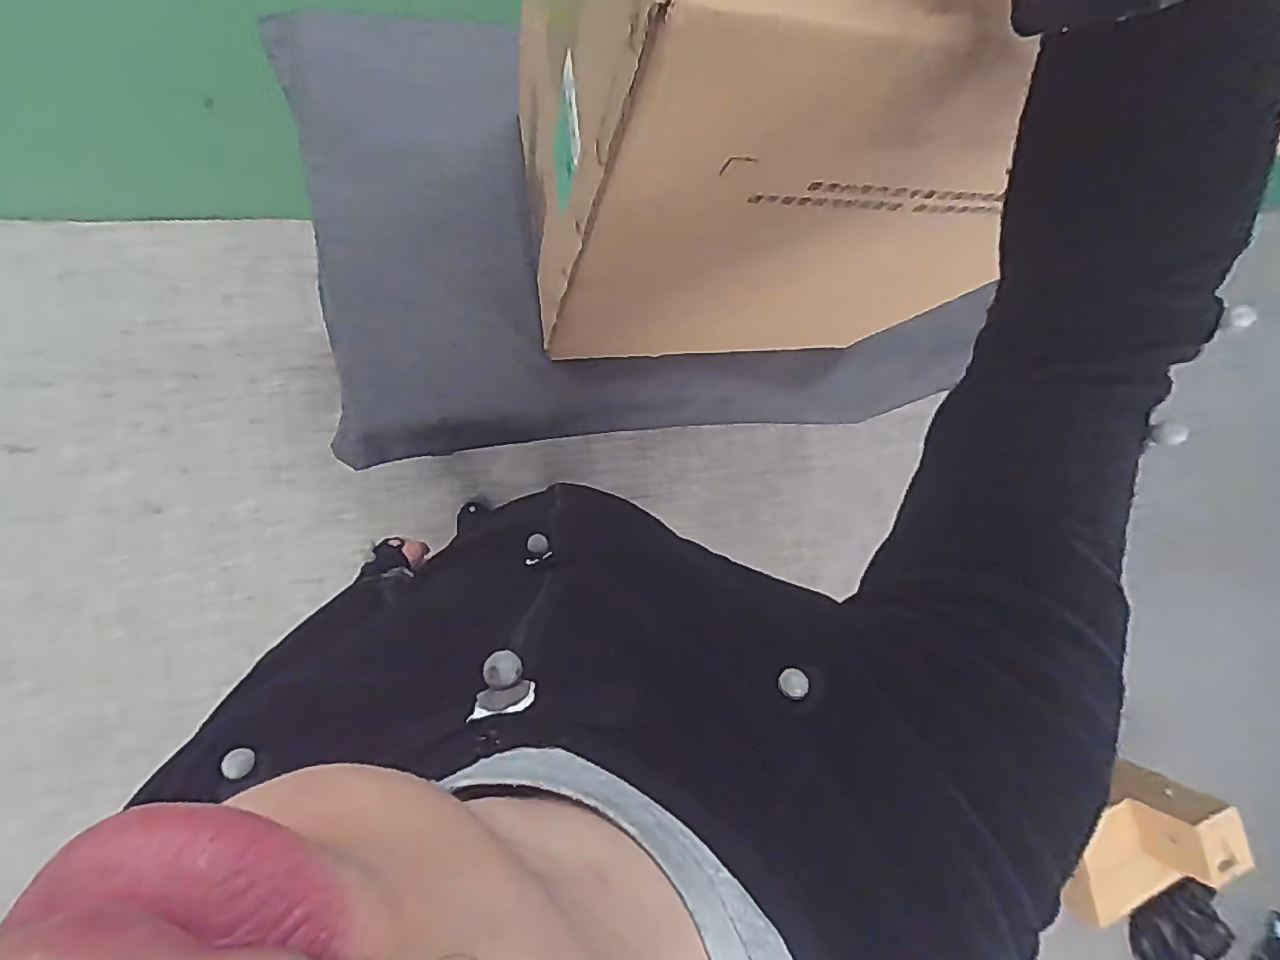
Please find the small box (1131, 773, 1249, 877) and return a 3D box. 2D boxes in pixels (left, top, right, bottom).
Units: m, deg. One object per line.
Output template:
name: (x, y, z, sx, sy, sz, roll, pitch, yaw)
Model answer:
small box: (1.616, 1.008, 1.598, 0.168, 0.176, 0.179, -13, 88, -14)
